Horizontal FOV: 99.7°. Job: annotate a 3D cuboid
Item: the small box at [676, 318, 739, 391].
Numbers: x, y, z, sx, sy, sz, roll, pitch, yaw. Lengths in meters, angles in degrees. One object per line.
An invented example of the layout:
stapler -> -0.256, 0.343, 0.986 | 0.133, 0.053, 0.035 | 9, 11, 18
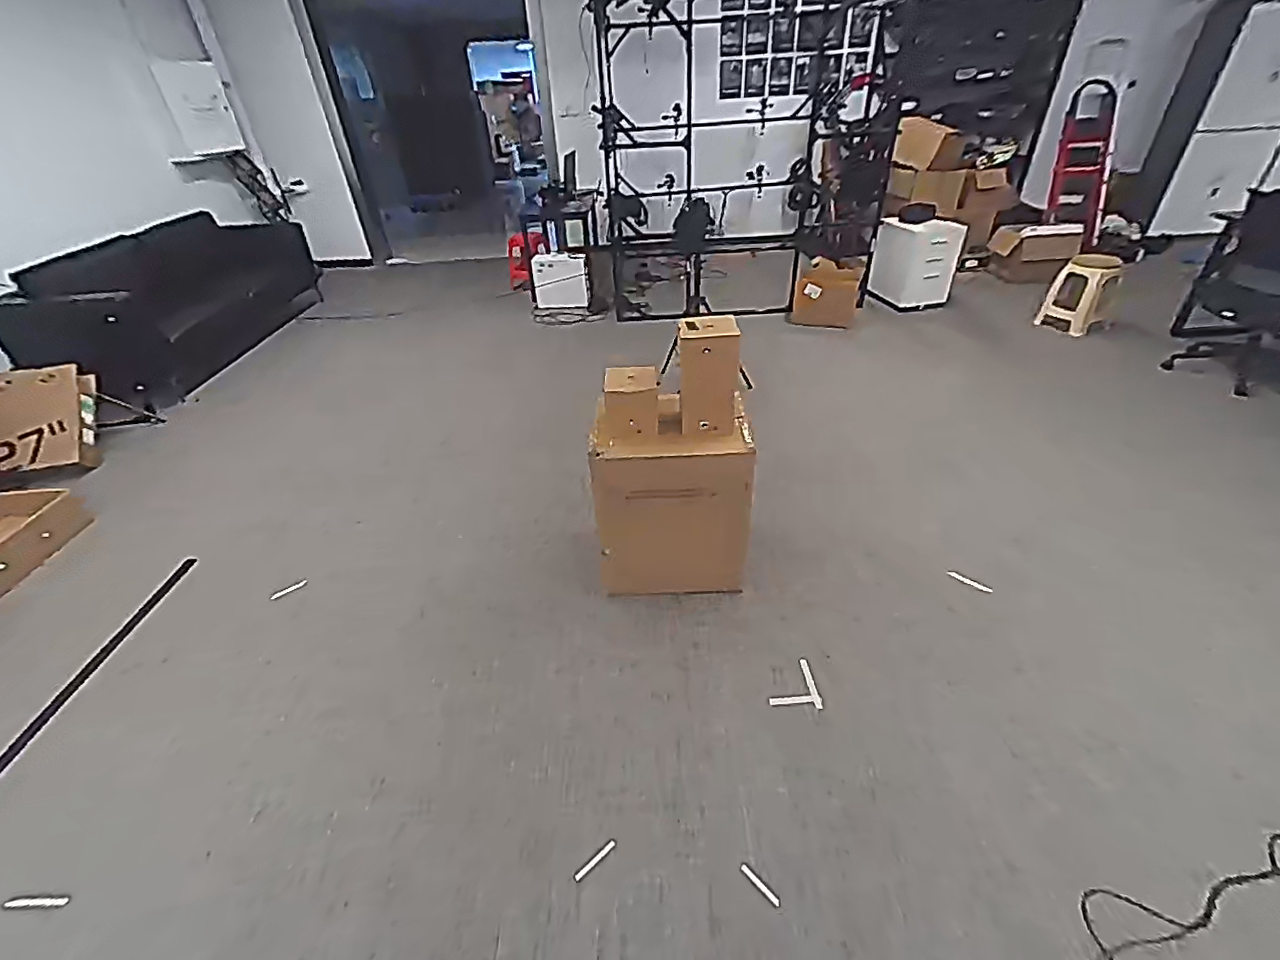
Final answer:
small box -> 0.207, -0.384, 1.664 | 0.179, 0.176, 0.168 | -4, 36, 3

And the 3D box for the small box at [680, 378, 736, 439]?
small box -> 0.217, -0.252, 1.762 | 0.168, 0.176, 0.179 | -4, 37, 3

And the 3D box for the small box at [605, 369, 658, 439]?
small box -> -0.027, -0.251, 1.778 | 0.168, 0.176, 0.179 | -3, 36, 0
